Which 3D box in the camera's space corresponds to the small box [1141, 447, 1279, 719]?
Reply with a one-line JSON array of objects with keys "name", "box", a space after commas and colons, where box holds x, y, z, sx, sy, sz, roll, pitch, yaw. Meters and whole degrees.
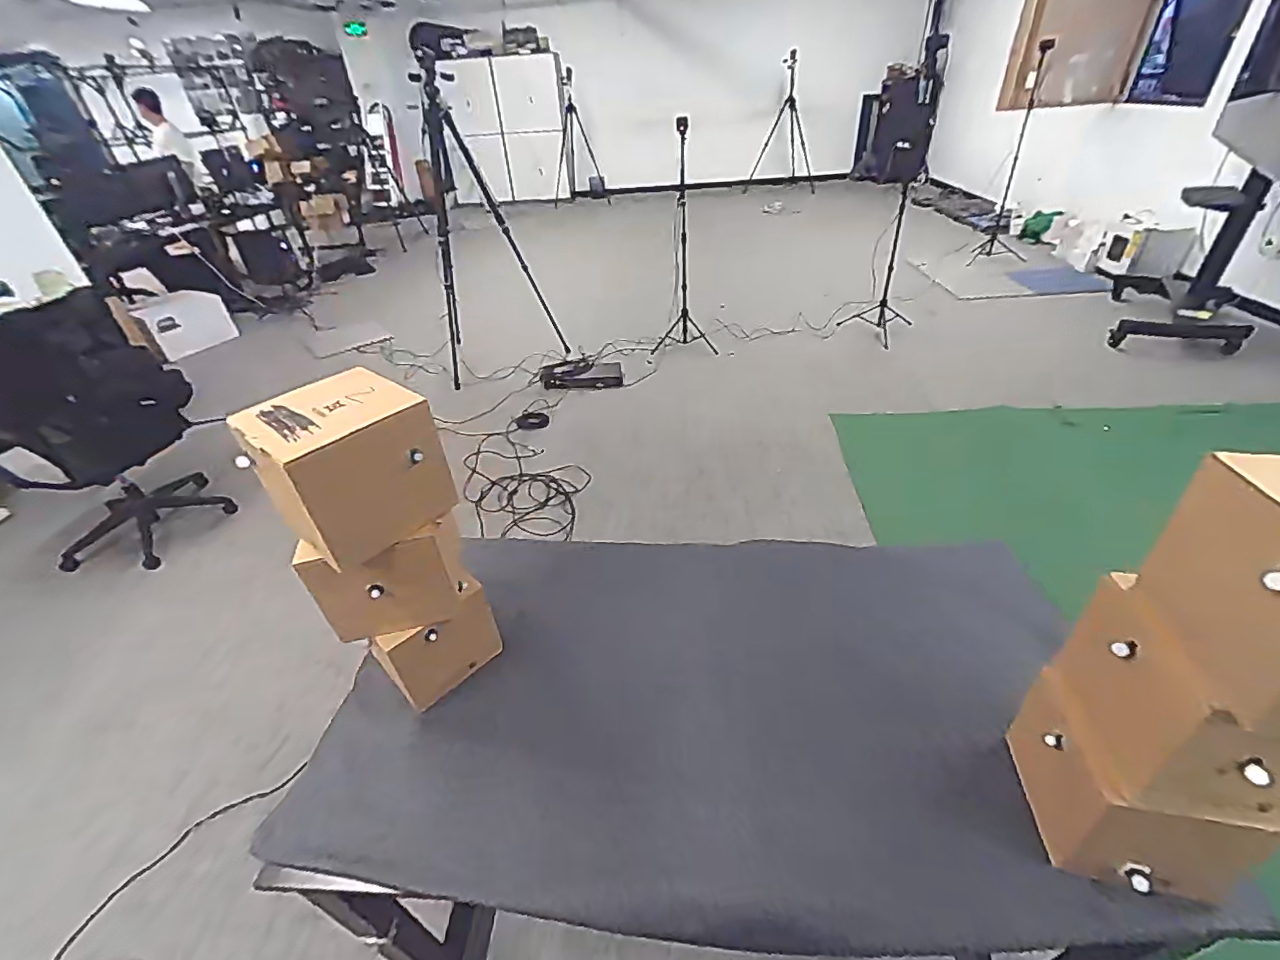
[{"name": "small box", "box": [0.575, 0.089, 0.440, 0.168, 0.176, 0.179, 3, 33, 12]}]

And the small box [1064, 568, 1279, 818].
[{"name": "small box", "box": [0.583, 0.214, 0.550, 0.168, 0.176, 0.179, 2, 33, 11]}]

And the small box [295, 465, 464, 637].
[{"name": "small box", "box": [-0.368, 0.105, 0.806, 0.179, 0.176, 0.168, -12, 38, -9]}]

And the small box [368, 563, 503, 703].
[{"name": "small box", "box": [-0.357, 0.234, 0.909, 0.179, 0.176, 0.168, 28, 48, 36]}]

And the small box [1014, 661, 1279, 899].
[{"name": "small box", "box": [0.580, 0.349, 0.642, 0.168, 0.176, 0.179, 3, 35, 13]}]
